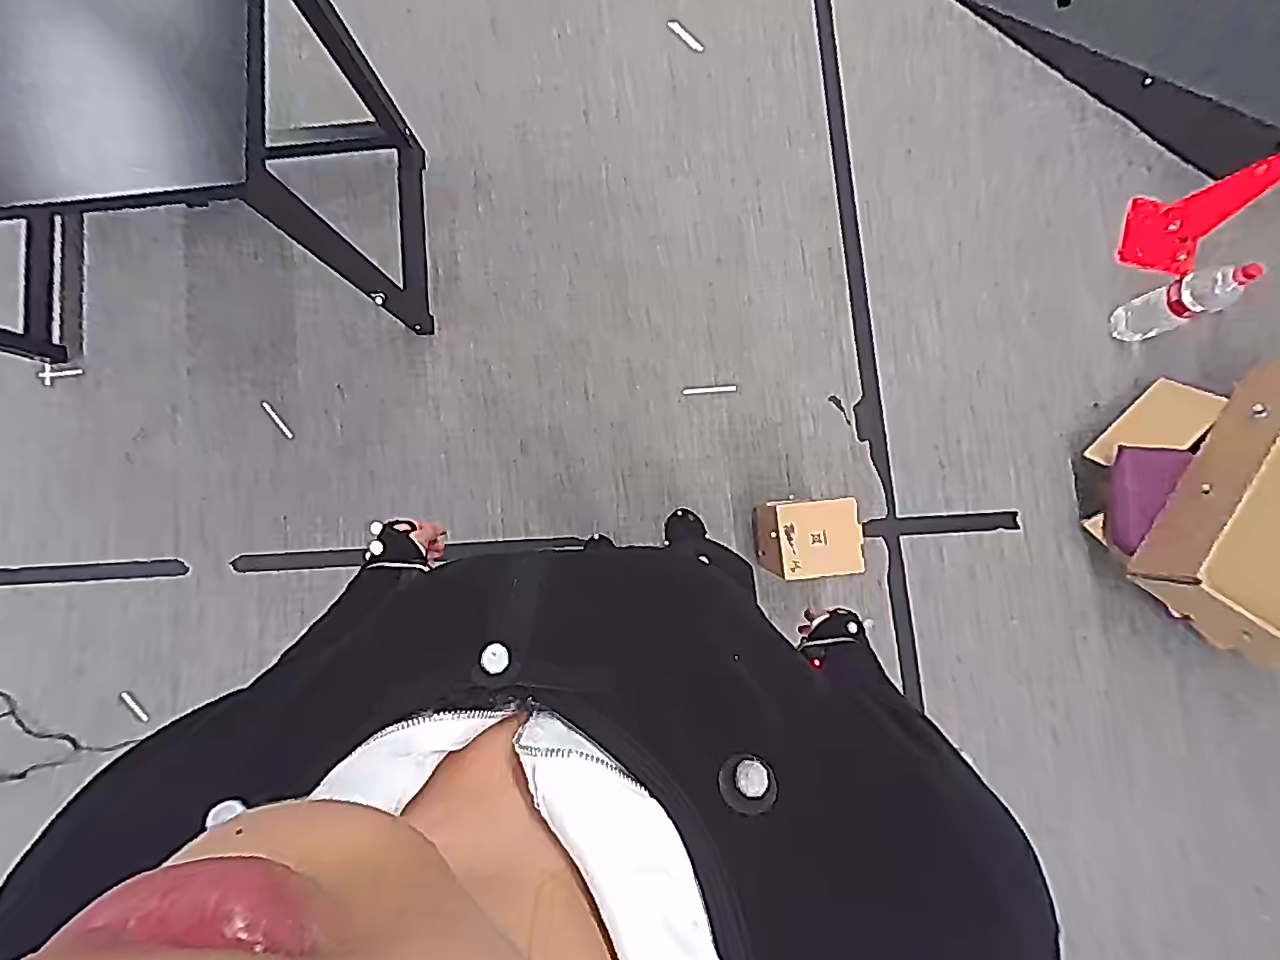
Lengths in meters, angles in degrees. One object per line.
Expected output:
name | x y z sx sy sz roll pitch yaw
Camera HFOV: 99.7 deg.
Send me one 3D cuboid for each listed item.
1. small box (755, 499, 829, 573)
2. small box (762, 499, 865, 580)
small box | 0.401 0.145 1.408 0.168 0.176 0.179 -5 84 2
small box | 0.391 0.133 1.244 0.179 0.176 0.168 -6 85 1
